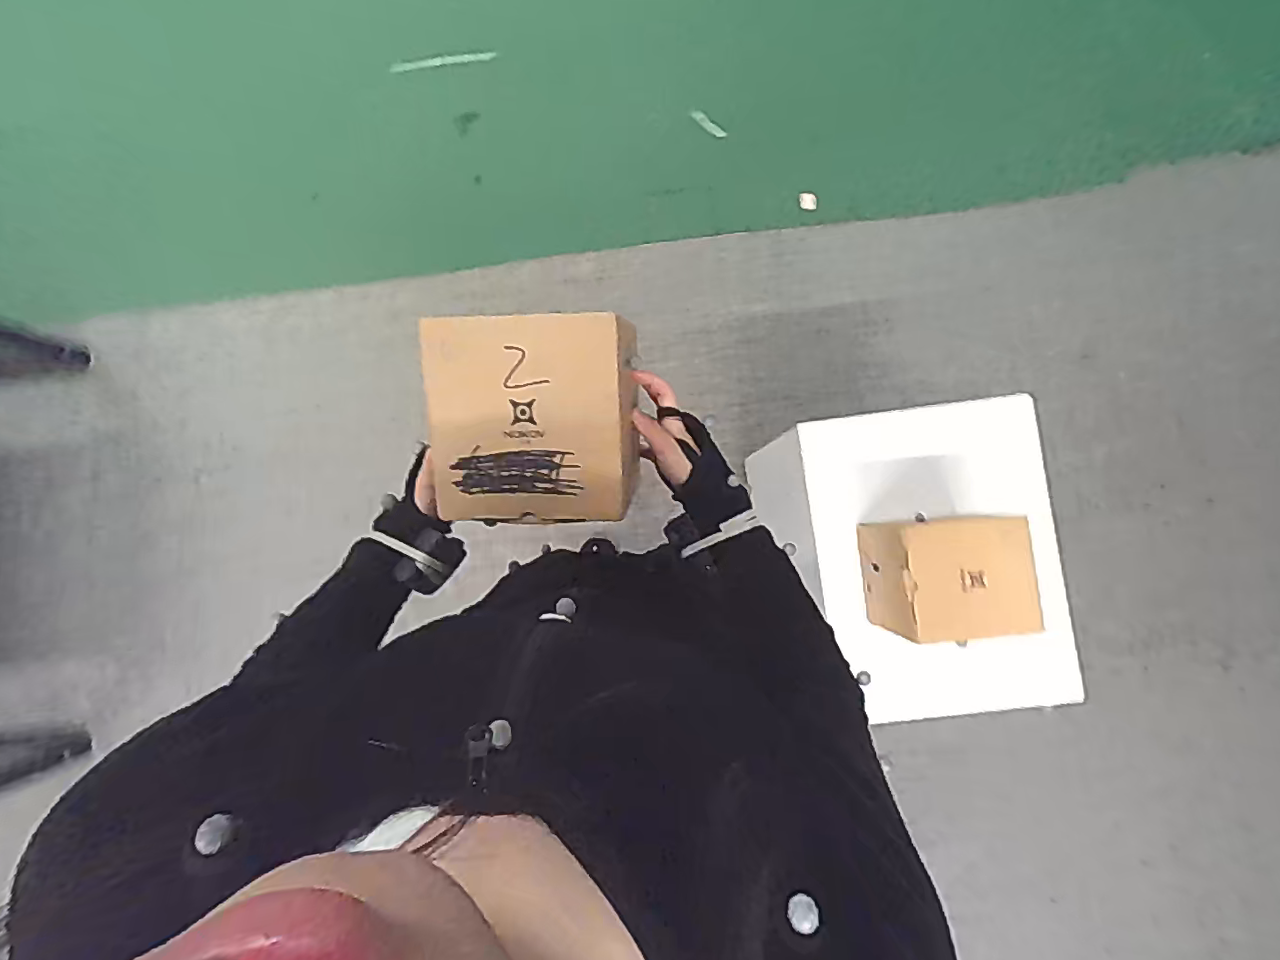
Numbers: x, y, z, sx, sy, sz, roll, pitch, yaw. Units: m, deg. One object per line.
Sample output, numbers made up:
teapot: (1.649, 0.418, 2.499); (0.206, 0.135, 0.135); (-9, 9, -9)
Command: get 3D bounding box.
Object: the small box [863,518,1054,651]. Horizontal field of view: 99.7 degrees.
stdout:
small box: (0.456, 0.144, 0.799); (0.179, 0.176, 0.168); (-5, 85, 1)
